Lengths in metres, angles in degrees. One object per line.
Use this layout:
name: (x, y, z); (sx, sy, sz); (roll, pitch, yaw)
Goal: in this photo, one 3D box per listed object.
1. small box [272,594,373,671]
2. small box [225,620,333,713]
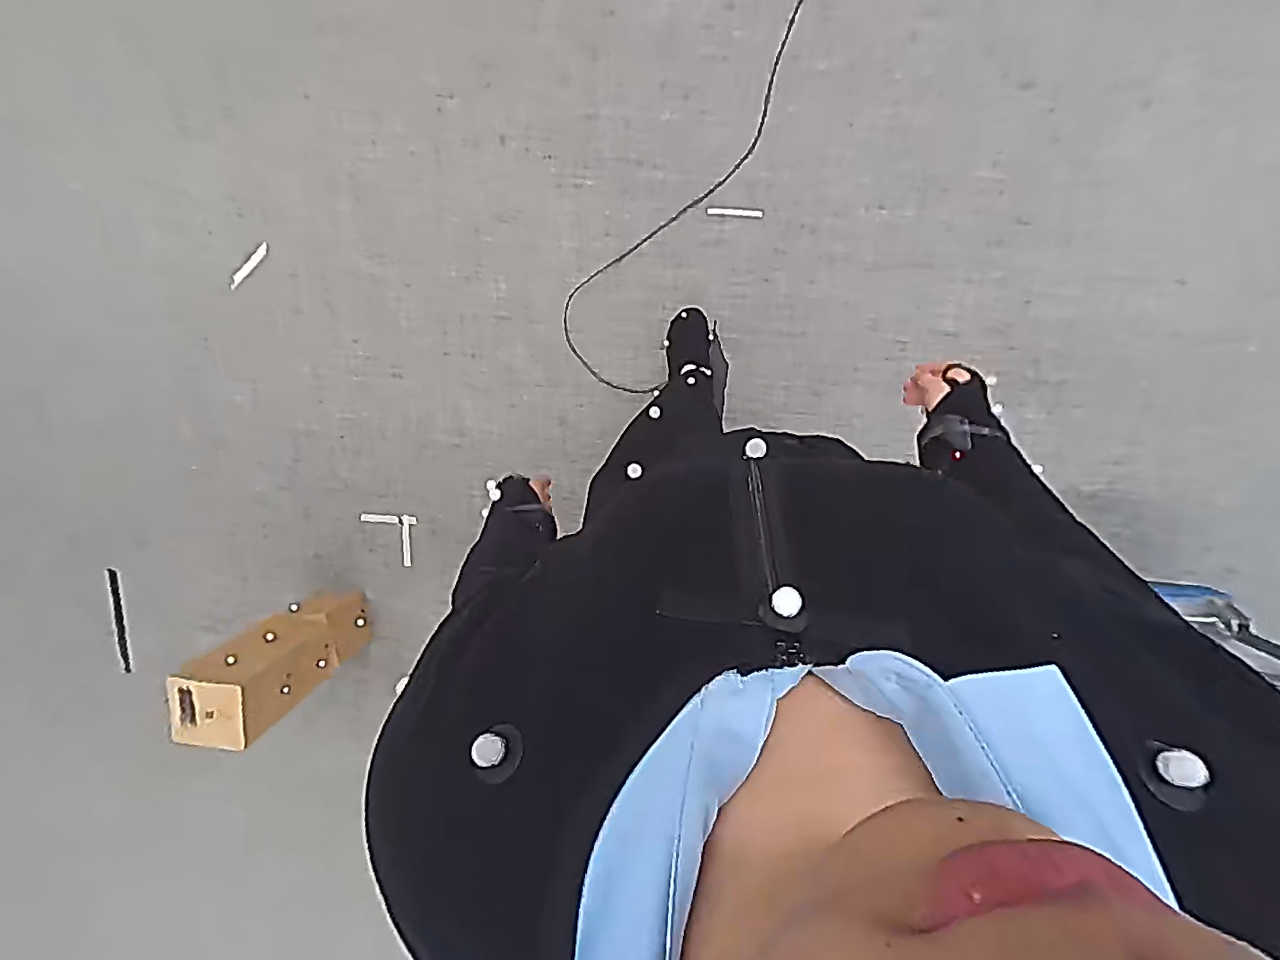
small box: (-0.929, 0.448, 1.593); (0.179, 0.176, 0.168); (-7, 101, 7)
small box: (-0.952, 0.486, 1.436); (0.179, 0.176, 0.168); (6, 102, 4)
